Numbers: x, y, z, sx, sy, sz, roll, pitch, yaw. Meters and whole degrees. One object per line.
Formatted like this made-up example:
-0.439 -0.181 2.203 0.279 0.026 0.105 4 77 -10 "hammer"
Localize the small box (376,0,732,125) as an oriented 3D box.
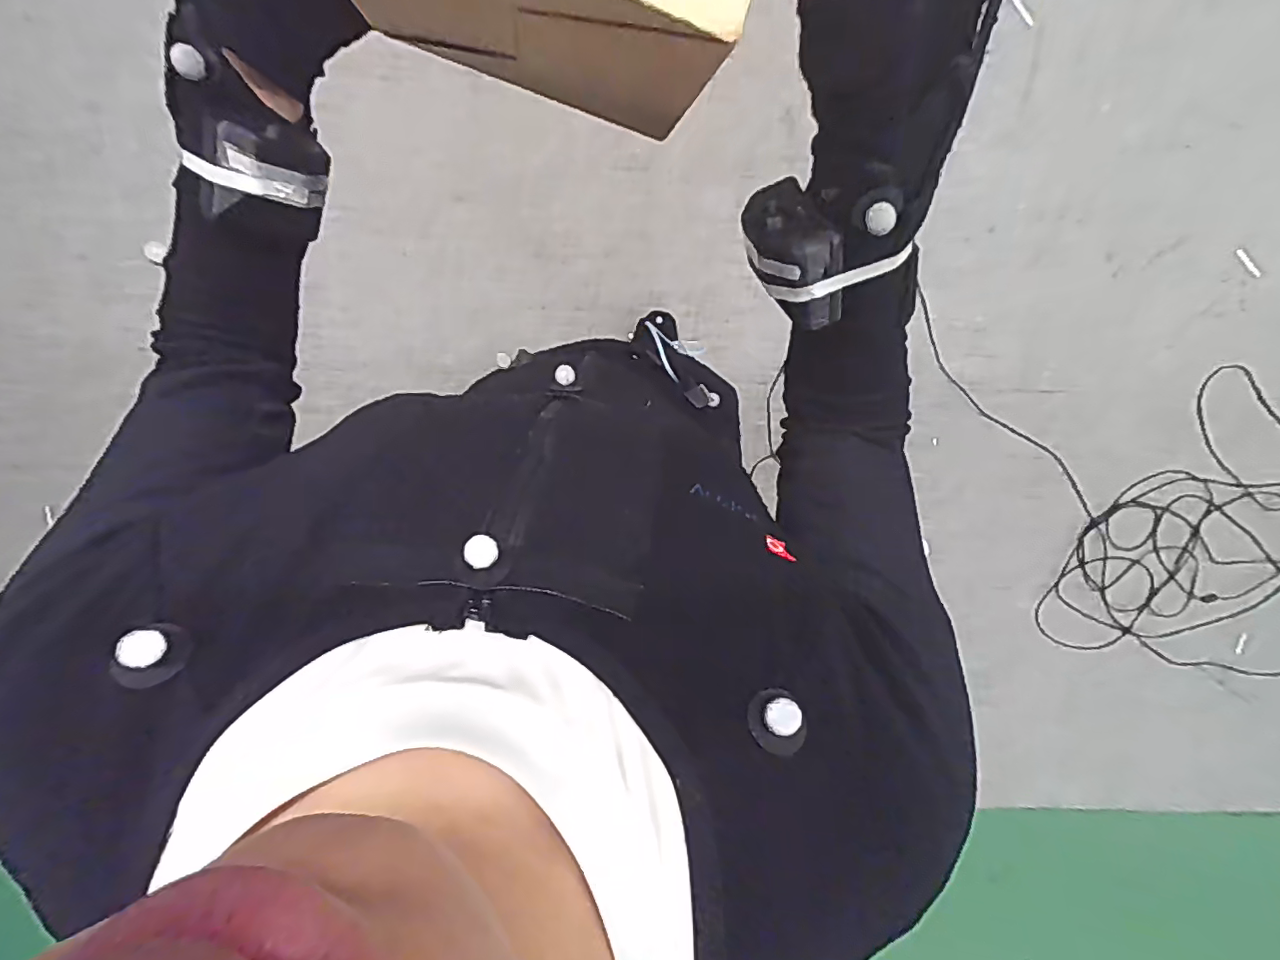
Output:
-0.031 -0.290 0.238 0.179 0.168 0.176 14 108 -13 "small box"
